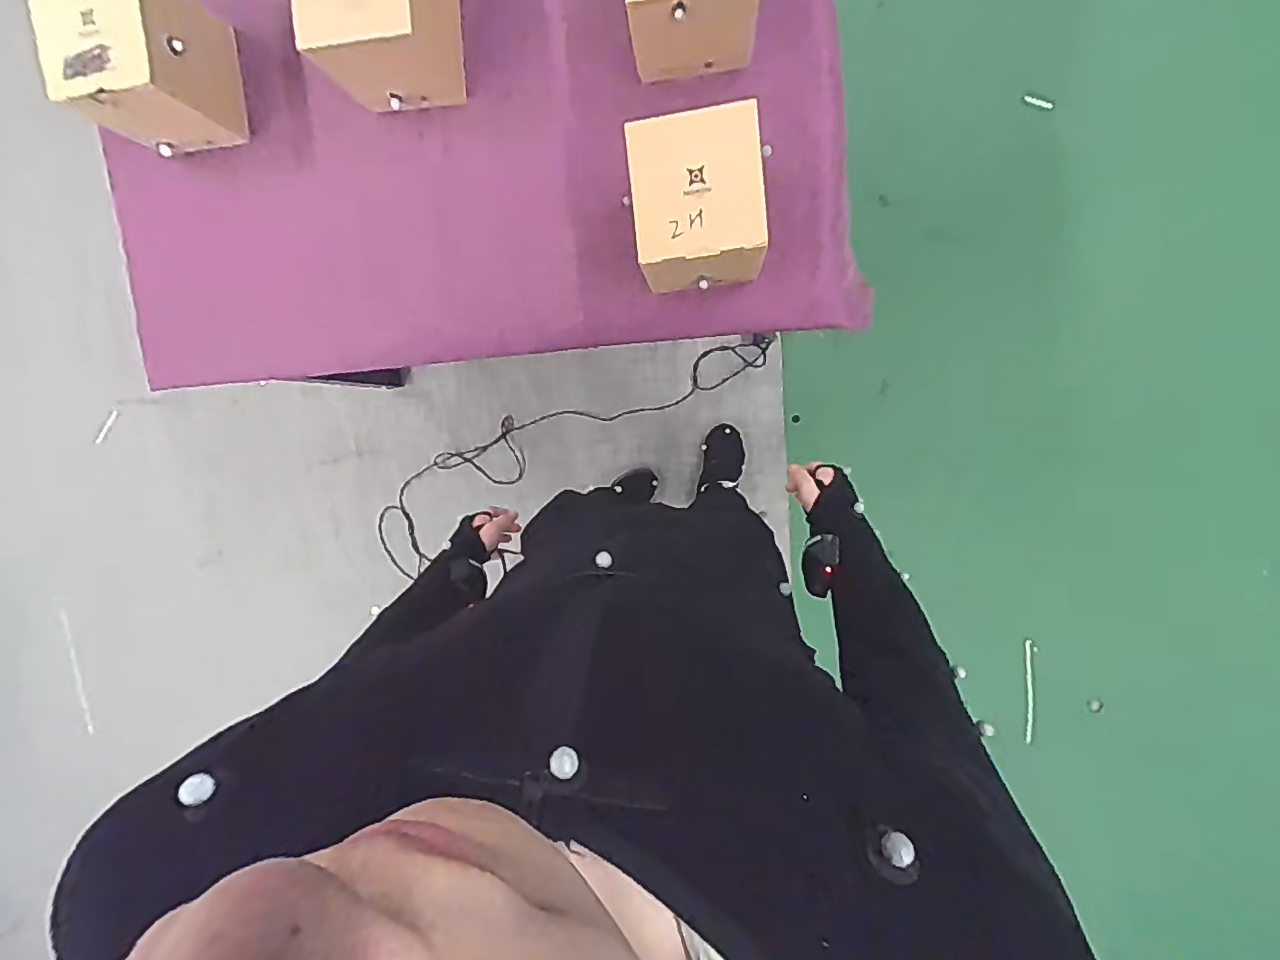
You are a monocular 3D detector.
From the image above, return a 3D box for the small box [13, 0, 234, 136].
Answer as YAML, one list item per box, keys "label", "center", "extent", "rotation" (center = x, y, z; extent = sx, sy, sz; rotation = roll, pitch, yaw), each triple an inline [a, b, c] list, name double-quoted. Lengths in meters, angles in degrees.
- label: "small box"
  center: [-0.742, -0.633, 0.792]
  extent: [0.168, 0.176, 0.179]
  rotation: [-3, 99, 5]

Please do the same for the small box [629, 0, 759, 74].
- label: "small box"
  center: [0.067, -0.686, 0.712]
  extent: [0.168, 0.176, 0.179]
  rotation: [-3, 98, 7]

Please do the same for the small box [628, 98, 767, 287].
- label: "small box"
  center: [0.080, -0.384, 0.753]
  extent: [0.168, 0.176, 0.179]
  rotation: [-5, 98, 7]

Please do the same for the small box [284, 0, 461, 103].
- label: "small box"
  center: [-0.367, -0.670, 0.756]
  extent: [0.168, 0.176, 0.179]
  rotation: [-1, 99, 6]
